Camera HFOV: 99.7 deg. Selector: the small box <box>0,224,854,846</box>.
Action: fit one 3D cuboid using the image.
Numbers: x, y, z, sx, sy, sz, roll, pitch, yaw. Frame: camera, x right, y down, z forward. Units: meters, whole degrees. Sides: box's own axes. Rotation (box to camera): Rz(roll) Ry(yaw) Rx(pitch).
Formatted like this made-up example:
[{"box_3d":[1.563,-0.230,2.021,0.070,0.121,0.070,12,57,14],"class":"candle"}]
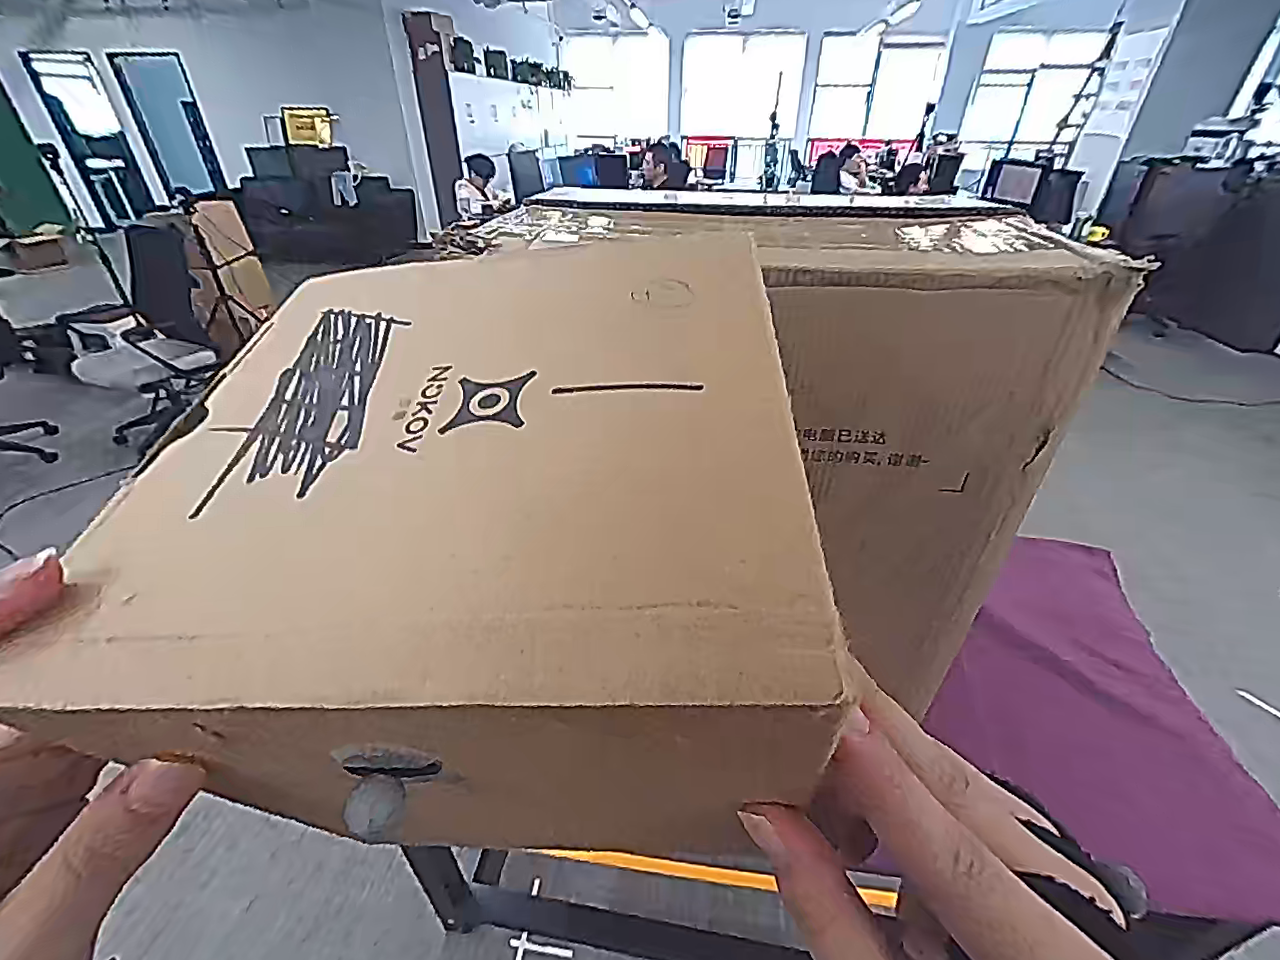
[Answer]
[{"box_3d":[-0.036,0.029,0.207,0.179,0.176,0.168,-3,48,7],"class":"small box"}]
